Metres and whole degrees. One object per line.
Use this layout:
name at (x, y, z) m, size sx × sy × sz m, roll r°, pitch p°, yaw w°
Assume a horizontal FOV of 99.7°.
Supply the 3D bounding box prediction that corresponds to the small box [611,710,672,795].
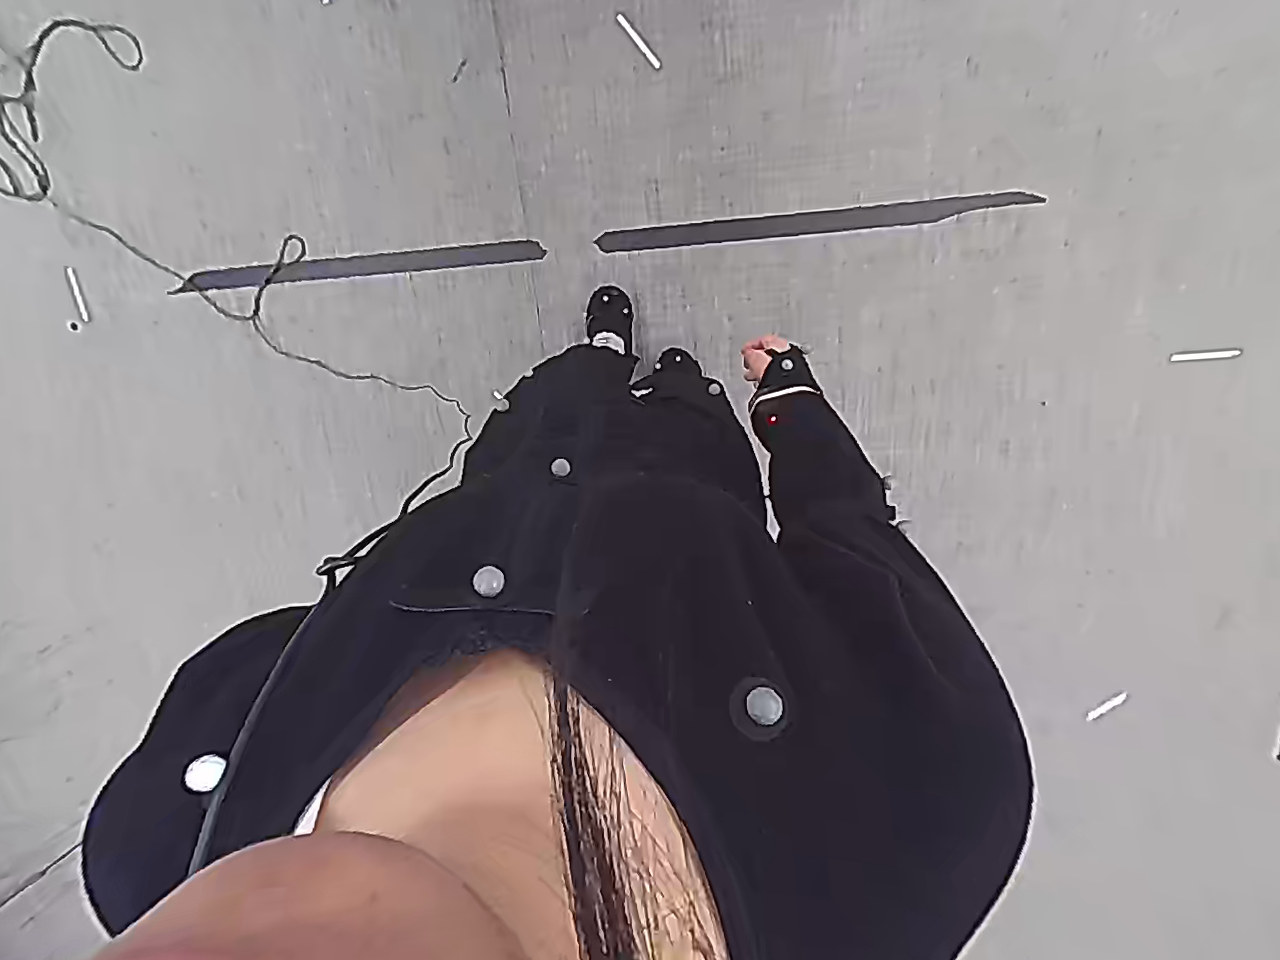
small box at (0.009, 0.824, 1.648) m, size 0.168 × 0.176 × 0.179 m, roll -4°, pitch 106°, yaw 7°
